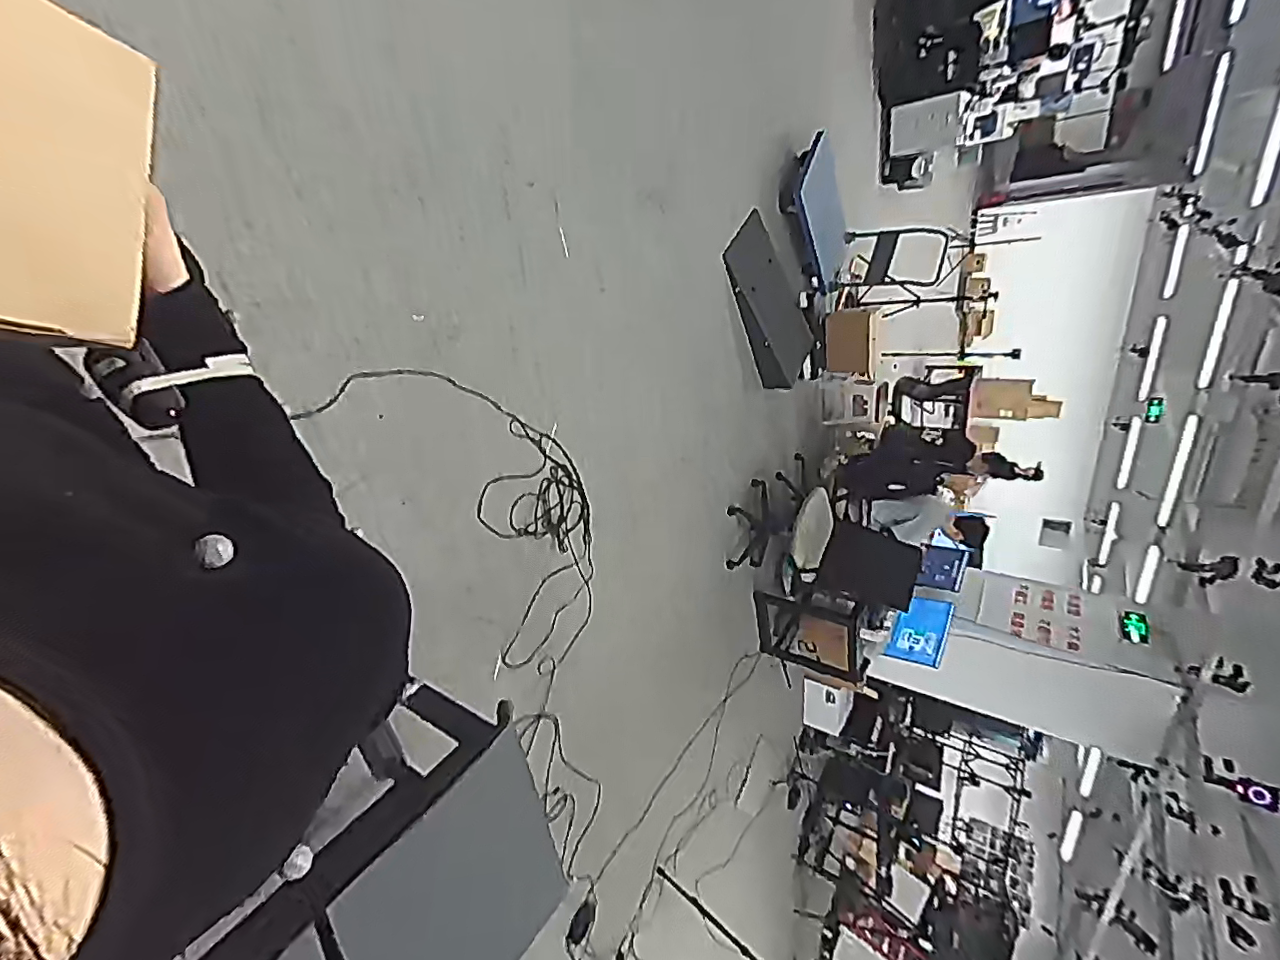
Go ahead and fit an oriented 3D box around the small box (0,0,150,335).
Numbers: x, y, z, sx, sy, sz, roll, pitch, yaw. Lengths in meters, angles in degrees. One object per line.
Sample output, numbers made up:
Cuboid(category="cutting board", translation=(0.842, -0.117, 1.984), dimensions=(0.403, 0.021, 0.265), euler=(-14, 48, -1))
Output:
Cuboid(category="small box", translation=(-0.401, -0.183, 0.279), dimensions=(0.168, 0.176, 0.179), euler=(5, 92, -62))
